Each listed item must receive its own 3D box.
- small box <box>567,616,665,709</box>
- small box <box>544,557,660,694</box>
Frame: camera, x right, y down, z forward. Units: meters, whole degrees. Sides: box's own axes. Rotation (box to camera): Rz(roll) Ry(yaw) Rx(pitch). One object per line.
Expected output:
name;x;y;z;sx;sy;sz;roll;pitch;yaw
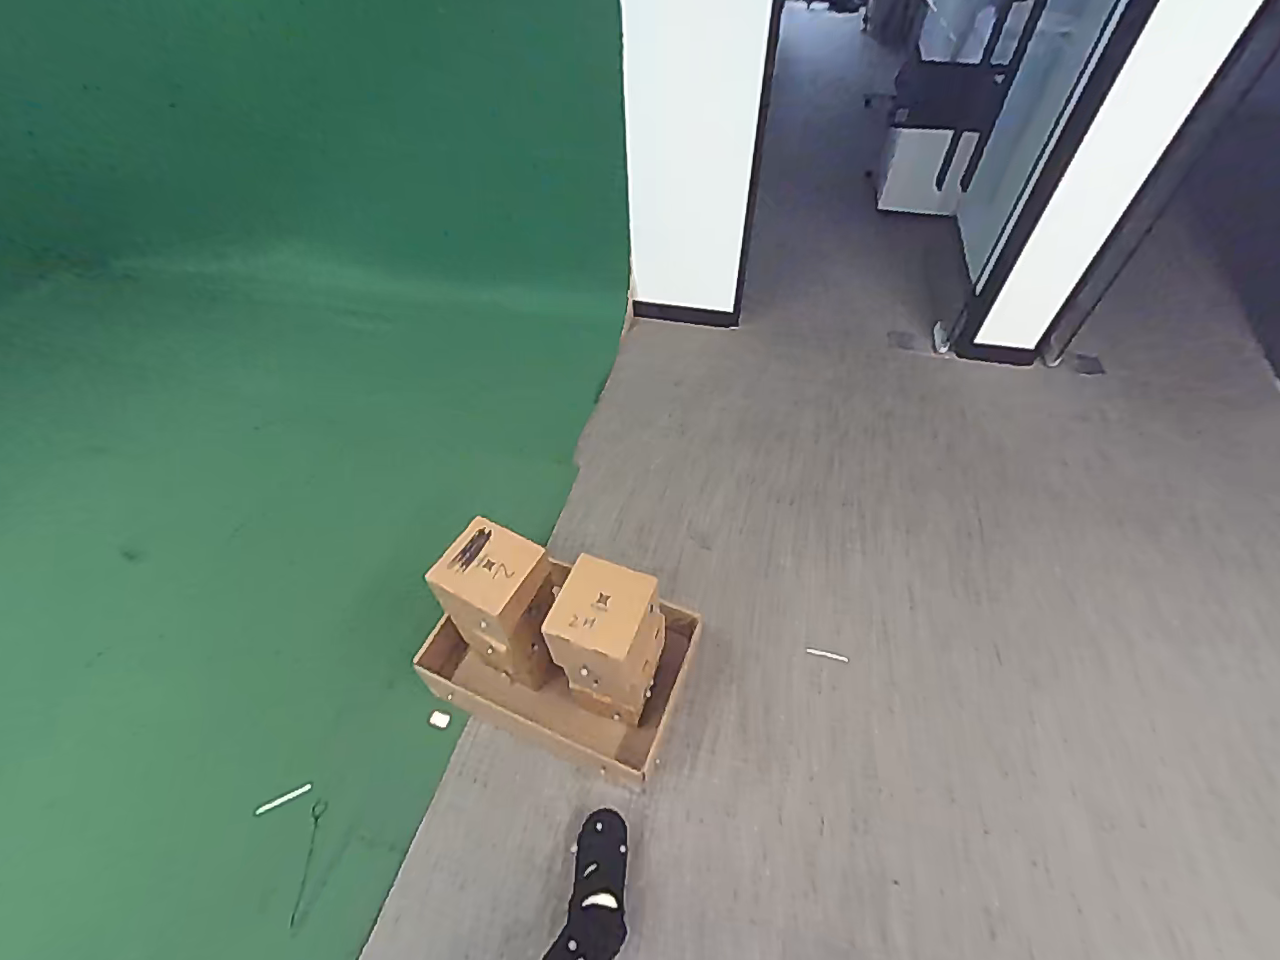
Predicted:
small box;-0.050;0.384;1.196;0.179;0.176;0.168;15;53;16
small box;-0.067;0.287;1.063;0.168;0.176;0.179;16;54;16
